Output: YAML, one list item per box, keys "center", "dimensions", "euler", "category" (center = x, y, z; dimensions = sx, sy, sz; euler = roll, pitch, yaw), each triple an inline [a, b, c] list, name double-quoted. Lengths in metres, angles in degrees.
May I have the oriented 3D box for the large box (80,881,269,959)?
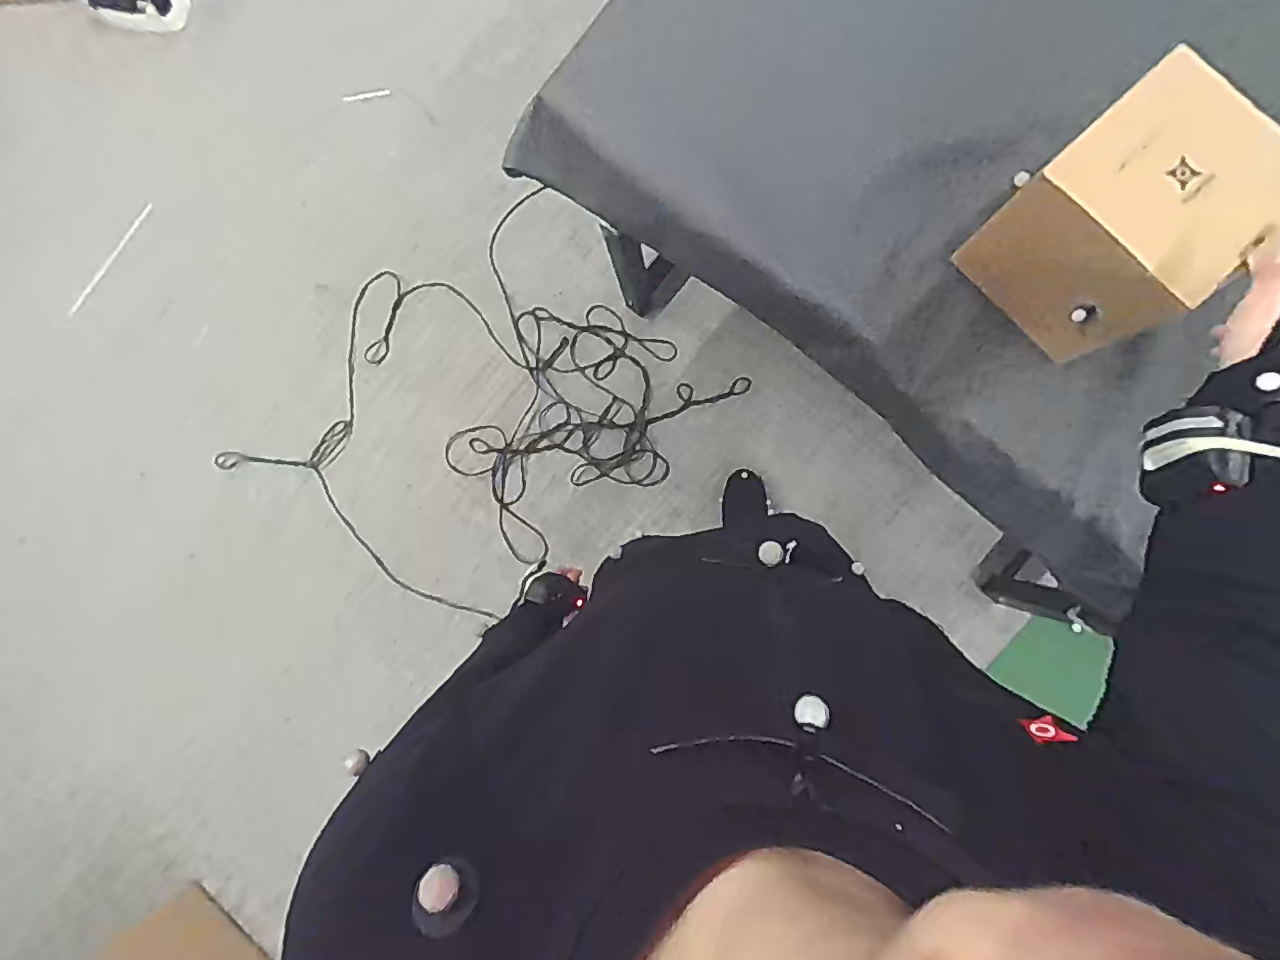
- center: [-1.159, 1.302, 1.285]
  dimensions: [0.408, 0.320, 0.320]
  euler: [39, 90, 7]
  category: "large box"

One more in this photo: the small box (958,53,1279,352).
- center: [0.474, -0.250, 0.541]
  dimensions: [0.168, 0.176, 0.179]
  euler: [-42, 83, 1]
  category: "small box"
